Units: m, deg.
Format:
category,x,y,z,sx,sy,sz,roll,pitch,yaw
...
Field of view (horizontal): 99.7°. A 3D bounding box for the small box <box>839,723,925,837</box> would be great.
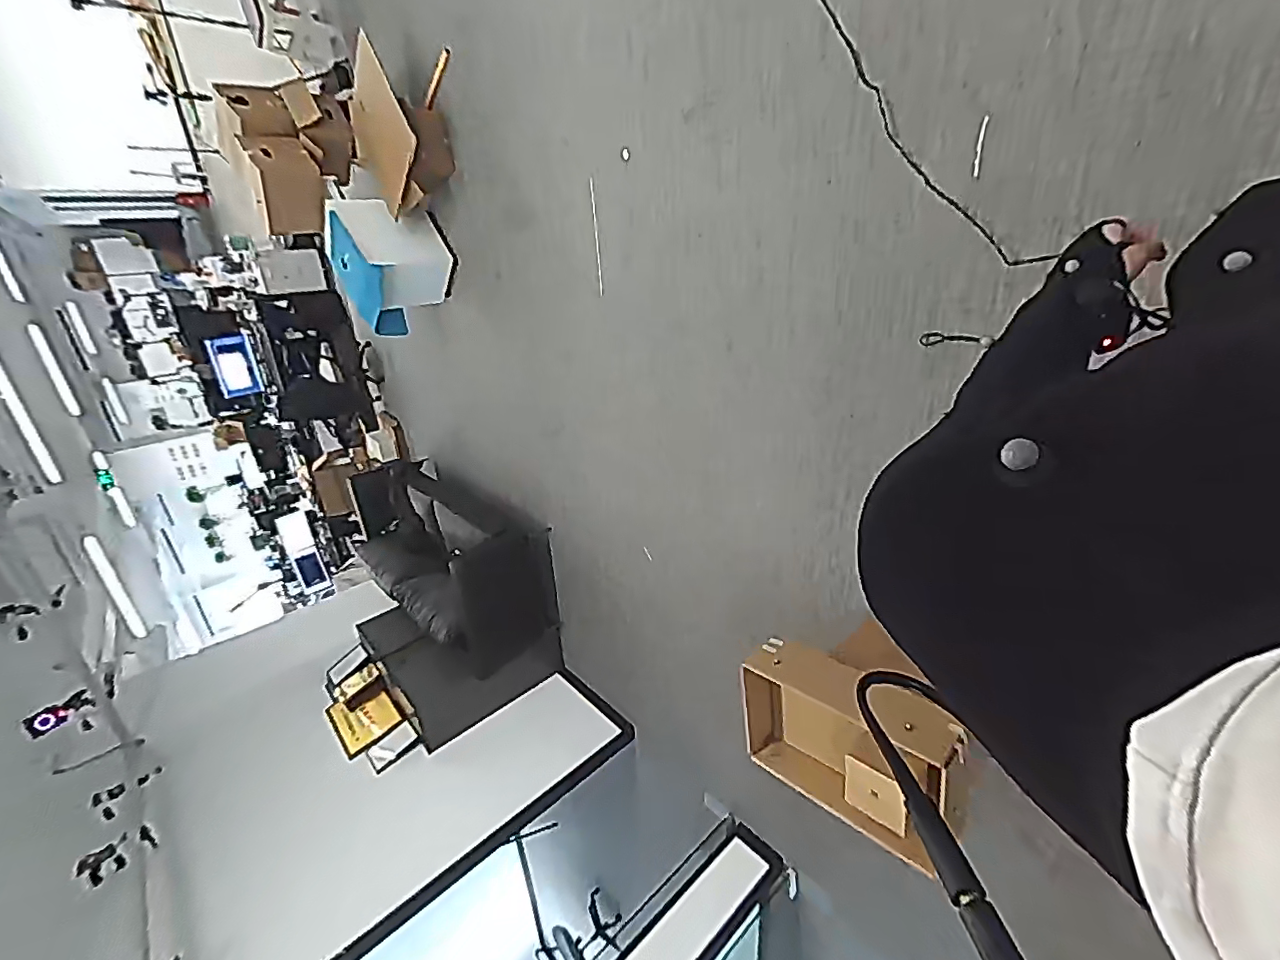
category,x,y,z,sx,sy,sz,roll,pitch,yaw
small box,0.664,0.810,1.482,0.168,0.176,0.179,13,118,46
